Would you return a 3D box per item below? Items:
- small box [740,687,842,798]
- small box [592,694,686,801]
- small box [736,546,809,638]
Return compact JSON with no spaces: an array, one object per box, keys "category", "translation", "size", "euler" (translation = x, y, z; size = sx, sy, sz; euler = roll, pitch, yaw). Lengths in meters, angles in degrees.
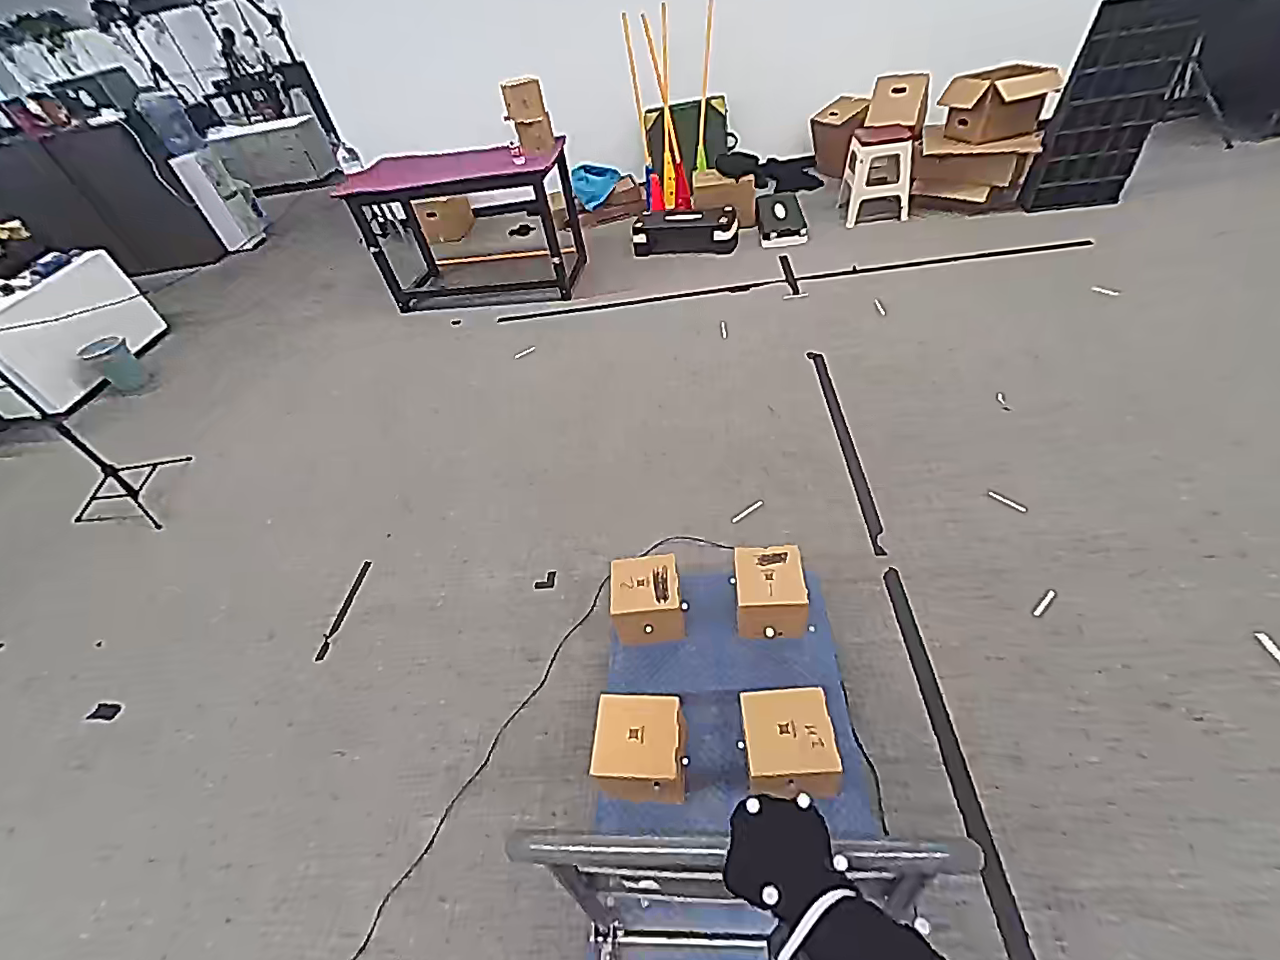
[{"category":"small box","translation":[0.312,0.558,1.141],"size":[0.179,0.176,0.168],"euler":[-6,45,6]},{"category":"small box","translation":[0.005,0.585,1.180],"size":[0.179,0.176,0.168],"euler":[-2,45,9]},{"category":"small box","translation":[0.337,0.292,1.405],"size":[0.168,0.176,0.179],"euler":[-4,46,8]}]
